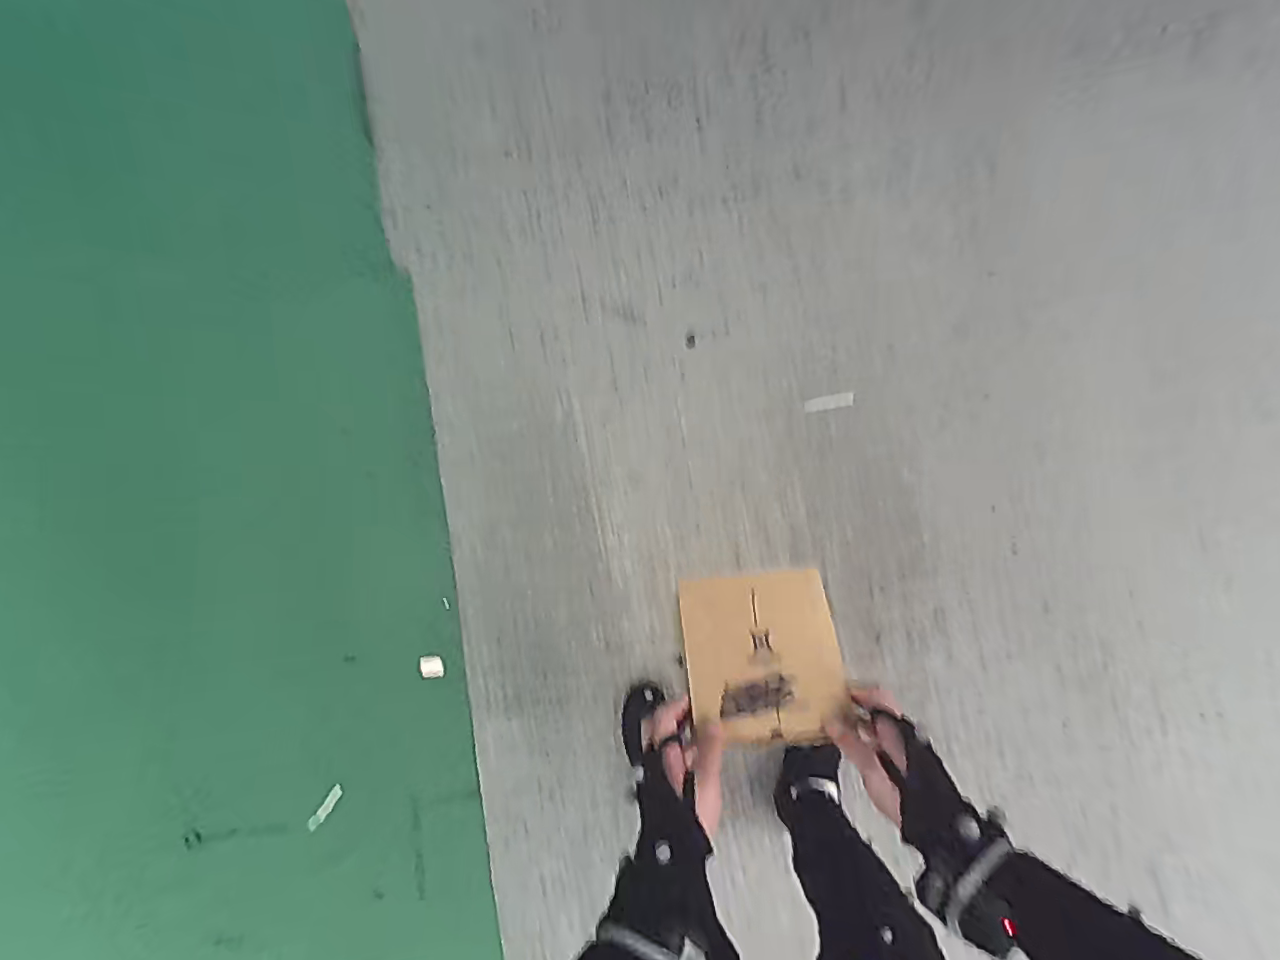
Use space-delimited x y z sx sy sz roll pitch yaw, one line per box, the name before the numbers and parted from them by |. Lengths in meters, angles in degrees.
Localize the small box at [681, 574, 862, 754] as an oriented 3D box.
small box | 0.141 0.228 0.655 0.168 0.176 0.179 -5 61 -1
